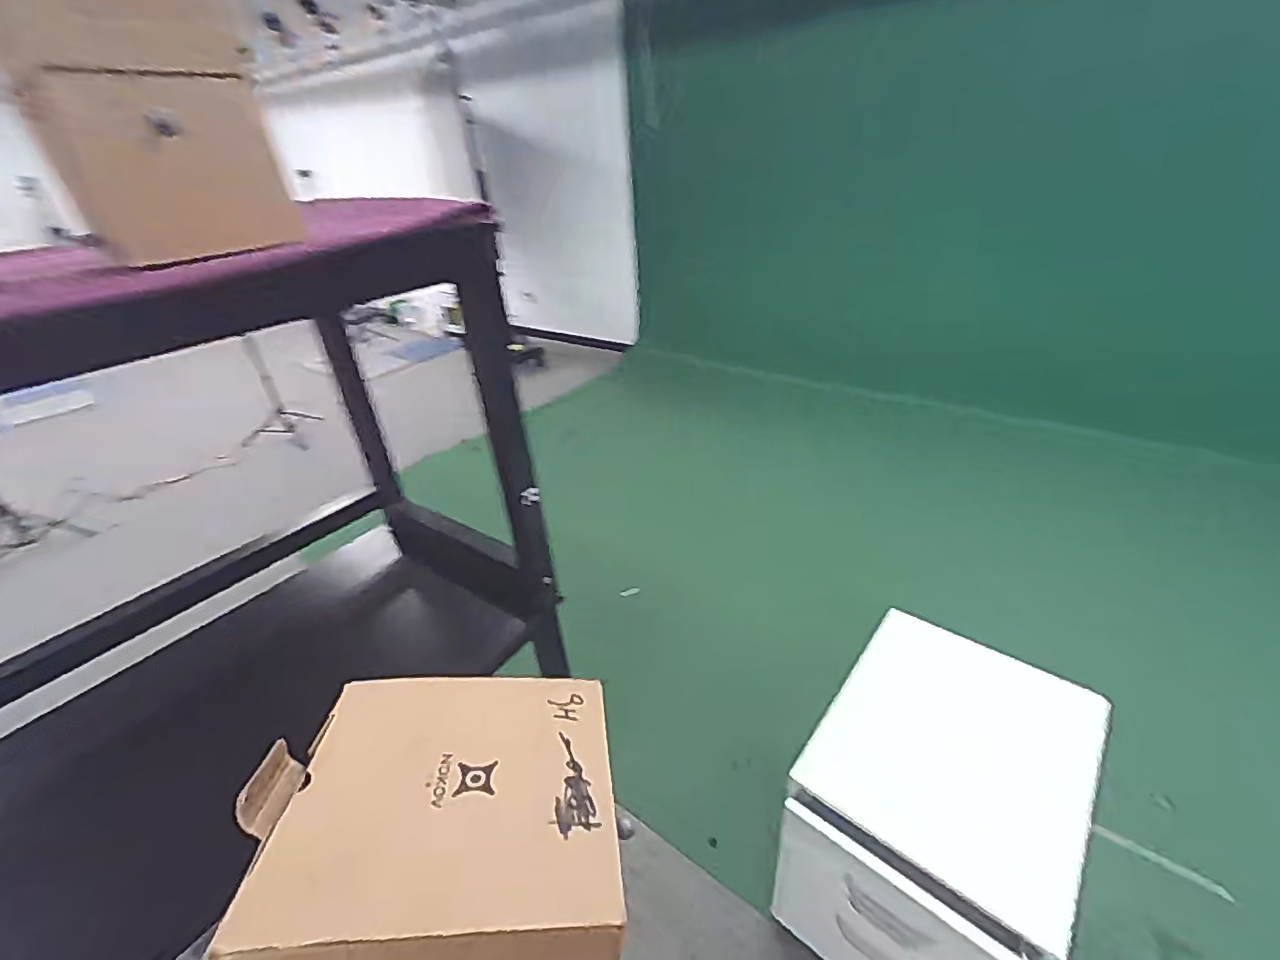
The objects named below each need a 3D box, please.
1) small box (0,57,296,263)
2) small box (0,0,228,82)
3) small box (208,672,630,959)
[{"bbox_3d":[-0.533,-0.343,0.601,0.168,0.176,0.179,15,36,33],"label":"small box"},{"bbox_3d":[-0.554,-0.483,0.520,0.168,0.176,0.179,16,36,33],"label":"small box"},{"bbox_3d":[-0.105,0.240,0.327,0.179,0.176,0.168,3,19,-9],"label":"small box"}]
